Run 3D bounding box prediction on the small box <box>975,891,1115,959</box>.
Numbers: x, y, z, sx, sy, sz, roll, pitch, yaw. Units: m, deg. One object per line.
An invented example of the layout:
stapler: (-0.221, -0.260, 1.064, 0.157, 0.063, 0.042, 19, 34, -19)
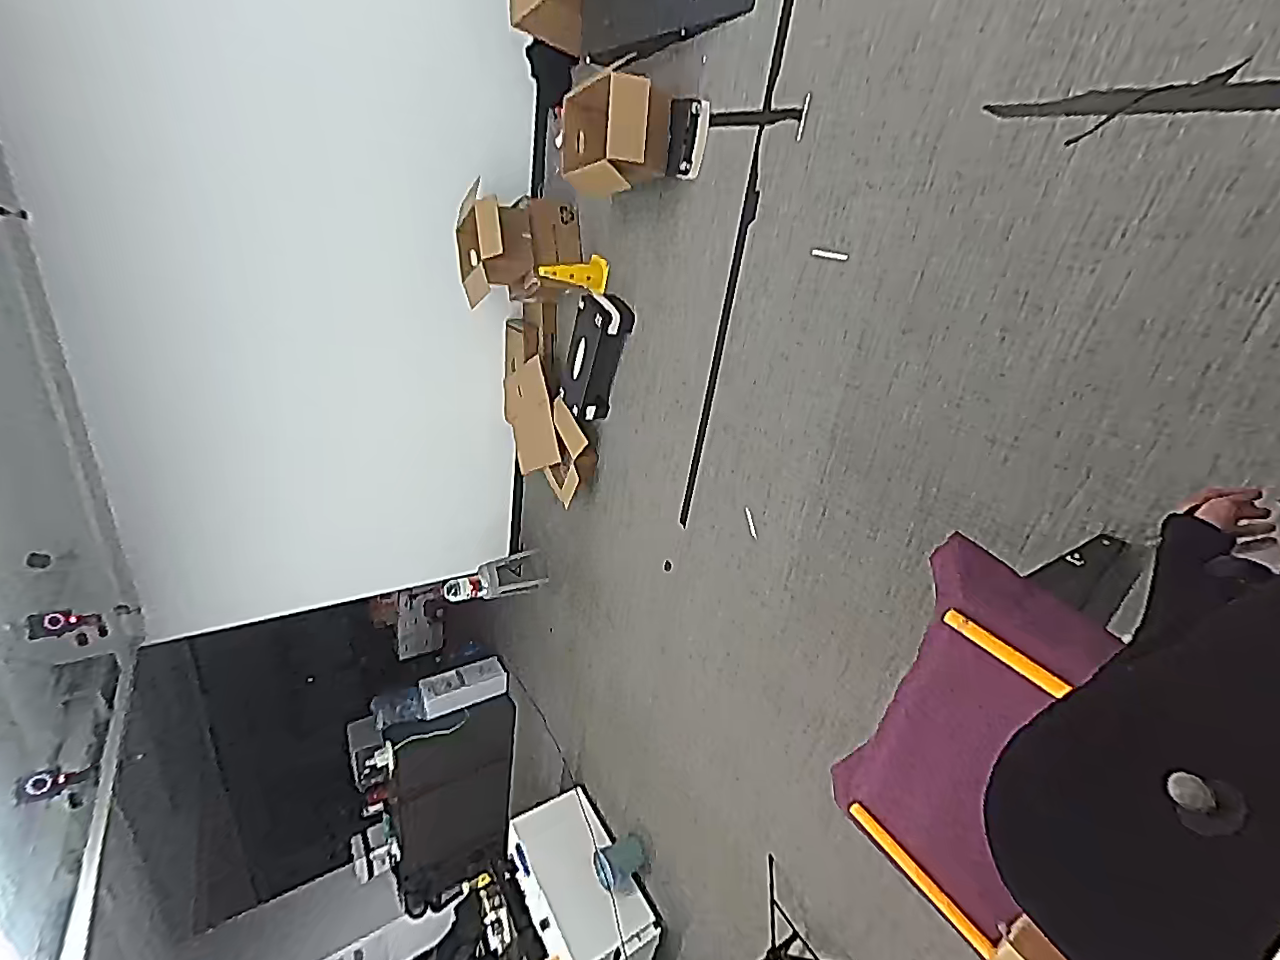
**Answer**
small box: (0.620, 0.759, 0.799, 0.179, 0.176, 0.168, 40, 127, 44)
